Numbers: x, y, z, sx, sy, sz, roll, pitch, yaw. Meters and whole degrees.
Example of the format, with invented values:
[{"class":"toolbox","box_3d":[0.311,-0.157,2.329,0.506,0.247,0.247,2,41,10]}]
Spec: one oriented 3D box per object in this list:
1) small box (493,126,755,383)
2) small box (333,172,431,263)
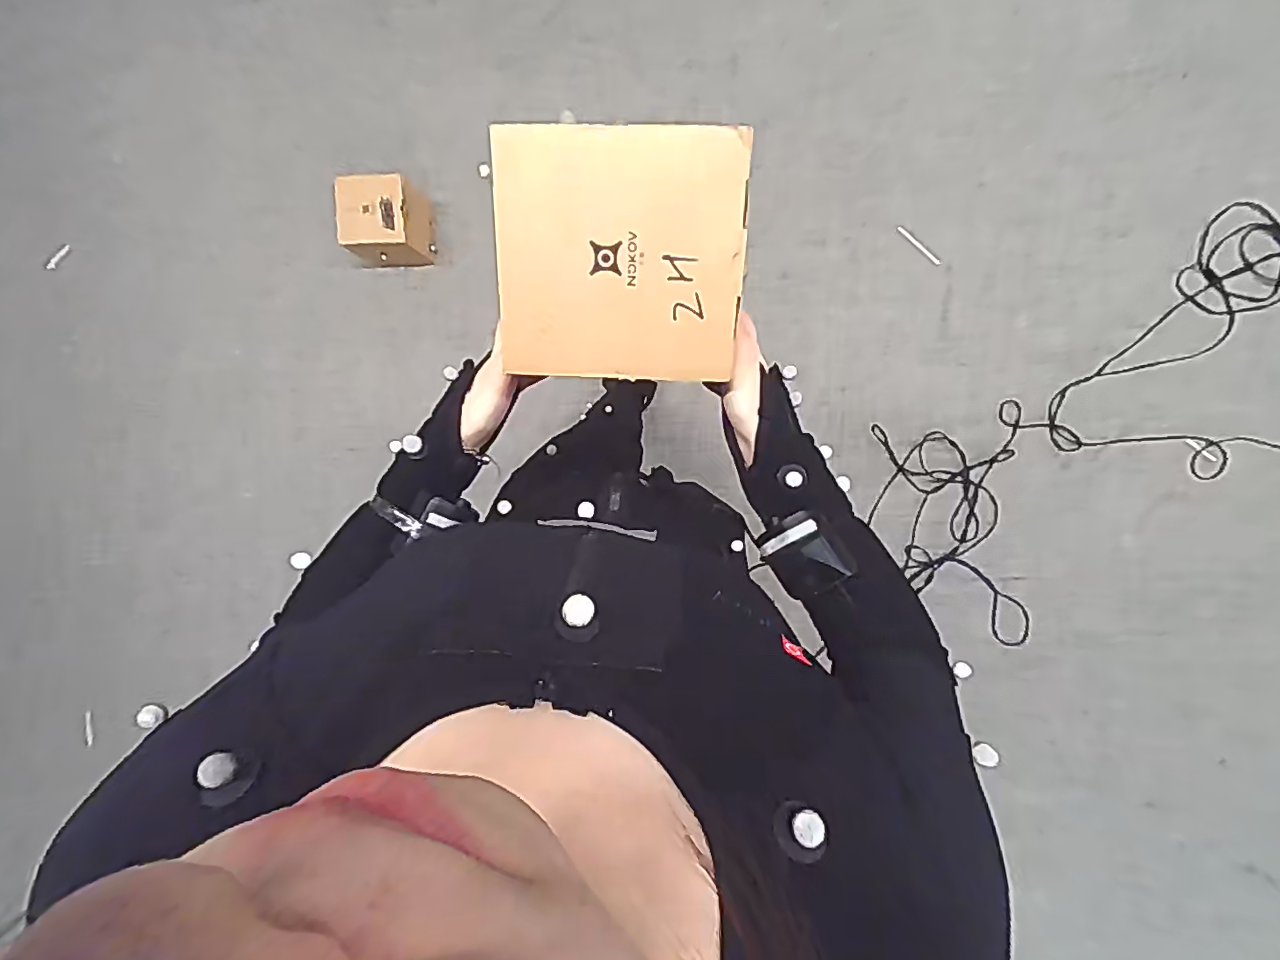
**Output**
[{"class":"small box","box_3d":[-0.009,-0.180,0.455,0.179,0.176,0.168,3,111,3]},{"class":"small box","box_3d":[-0.656,-0.670,1.396,0.179,0.176,0.168,0,94,5]}]
